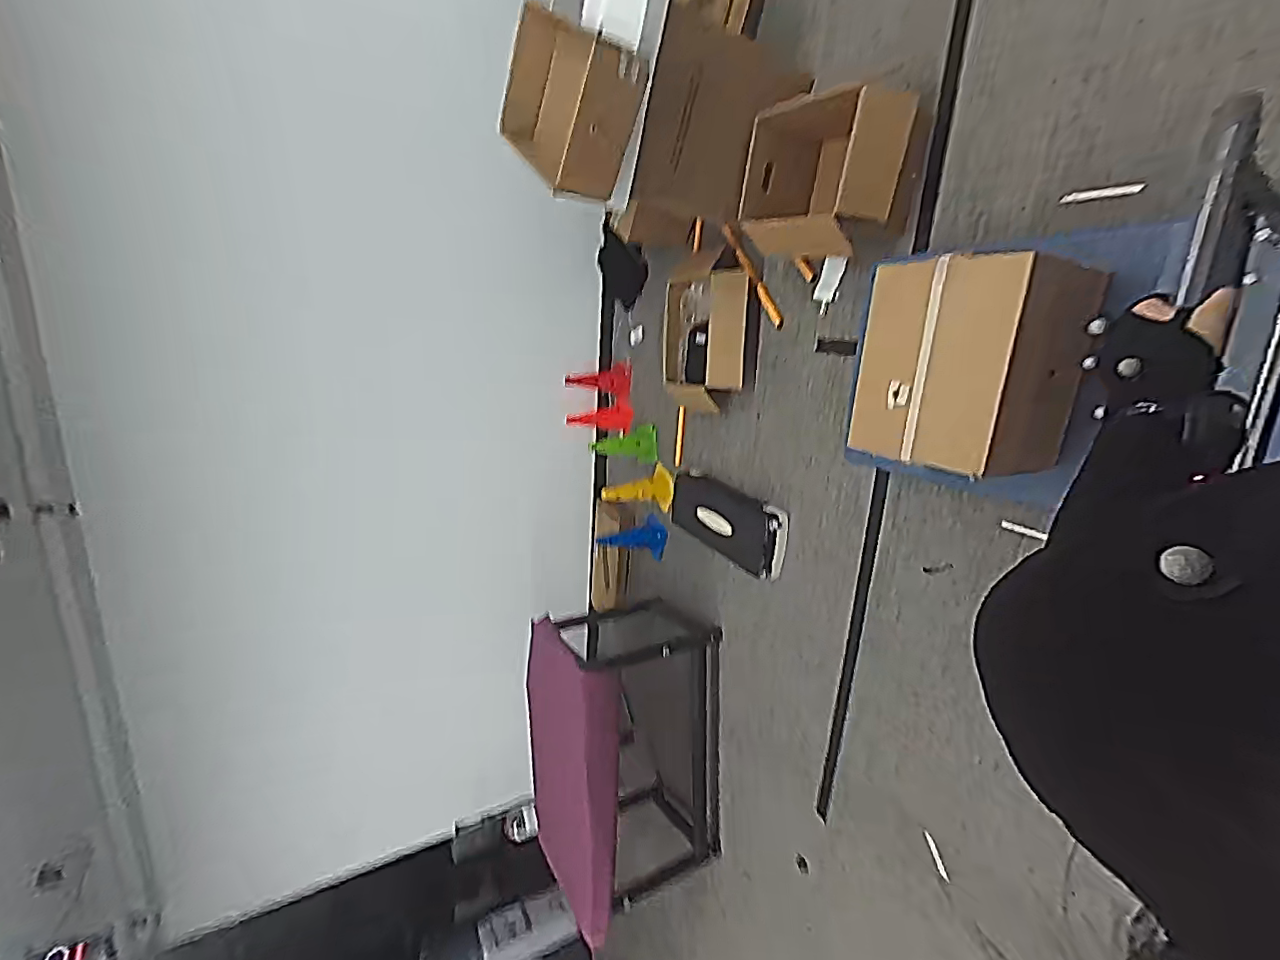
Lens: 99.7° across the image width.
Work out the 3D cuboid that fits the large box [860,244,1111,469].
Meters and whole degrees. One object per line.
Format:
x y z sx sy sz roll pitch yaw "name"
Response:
0.728 -0.261 1.166 0.320 0.320 0.408 26 118 57 "large box"
